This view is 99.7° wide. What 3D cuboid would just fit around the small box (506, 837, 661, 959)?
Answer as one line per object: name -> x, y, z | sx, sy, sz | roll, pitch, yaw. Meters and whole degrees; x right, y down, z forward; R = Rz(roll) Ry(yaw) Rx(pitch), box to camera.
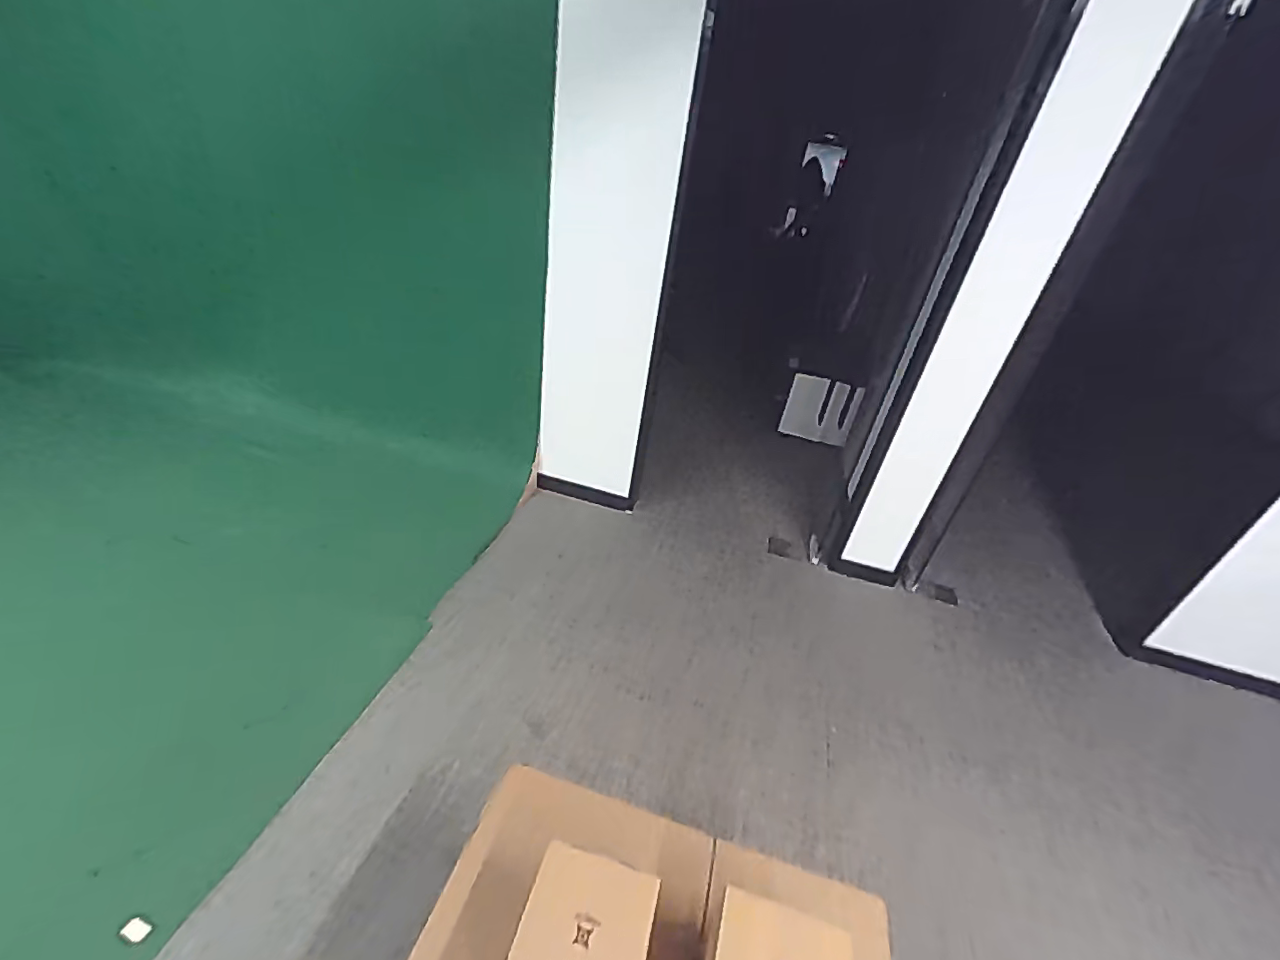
small box -> -0.079, 0.638, 0.730 | 0.168, 0.176, 0.179 | 13, 31, 9
